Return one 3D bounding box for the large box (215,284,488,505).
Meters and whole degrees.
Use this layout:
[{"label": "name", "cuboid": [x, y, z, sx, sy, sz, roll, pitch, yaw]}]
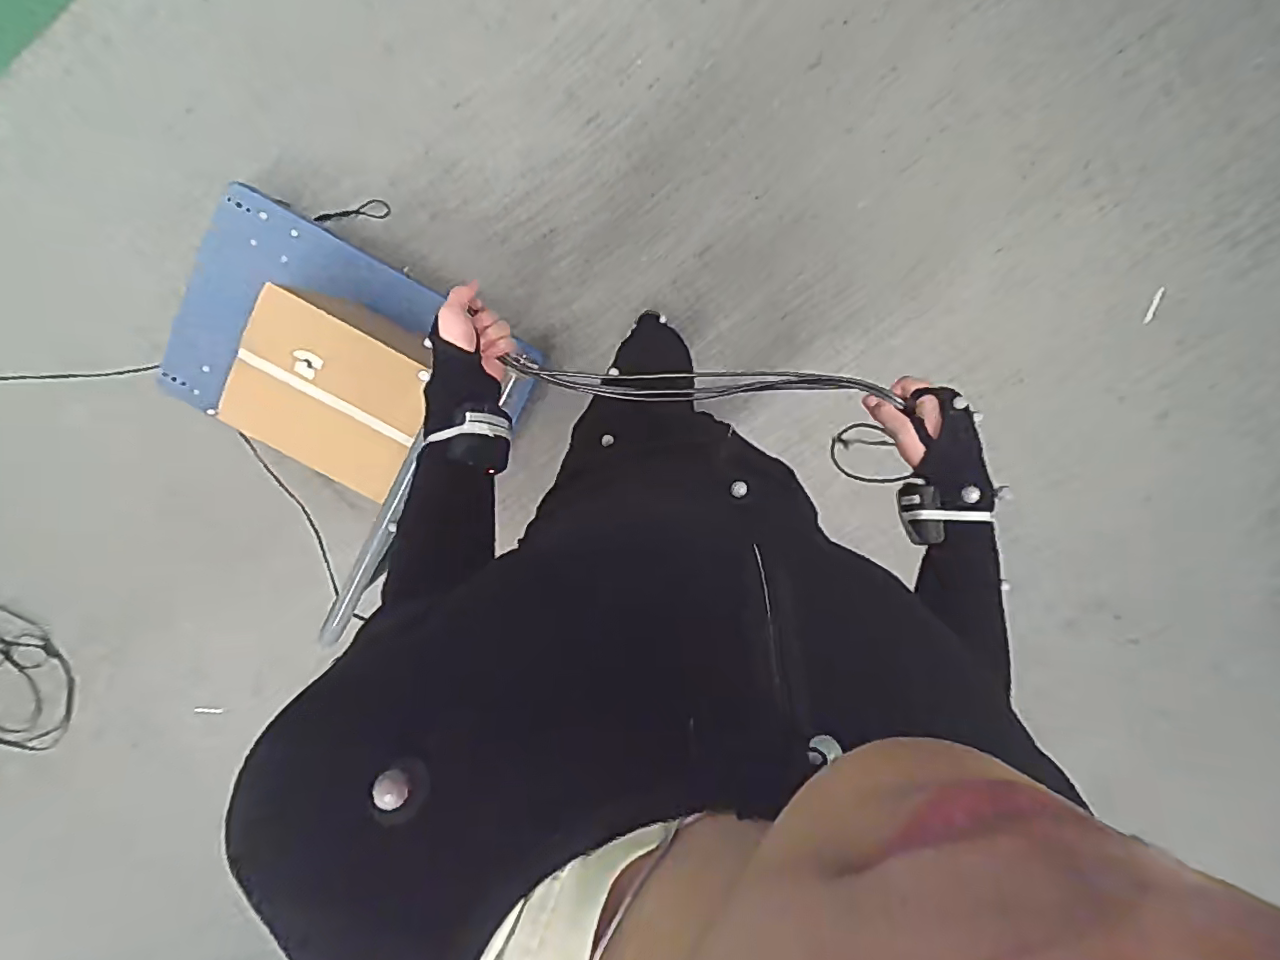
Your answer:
[{"label": "large box", "cuboid": [-0.629, -0.195, 1.248, 0.408, 0.320, 0.320, 29, 100, -4]}]
